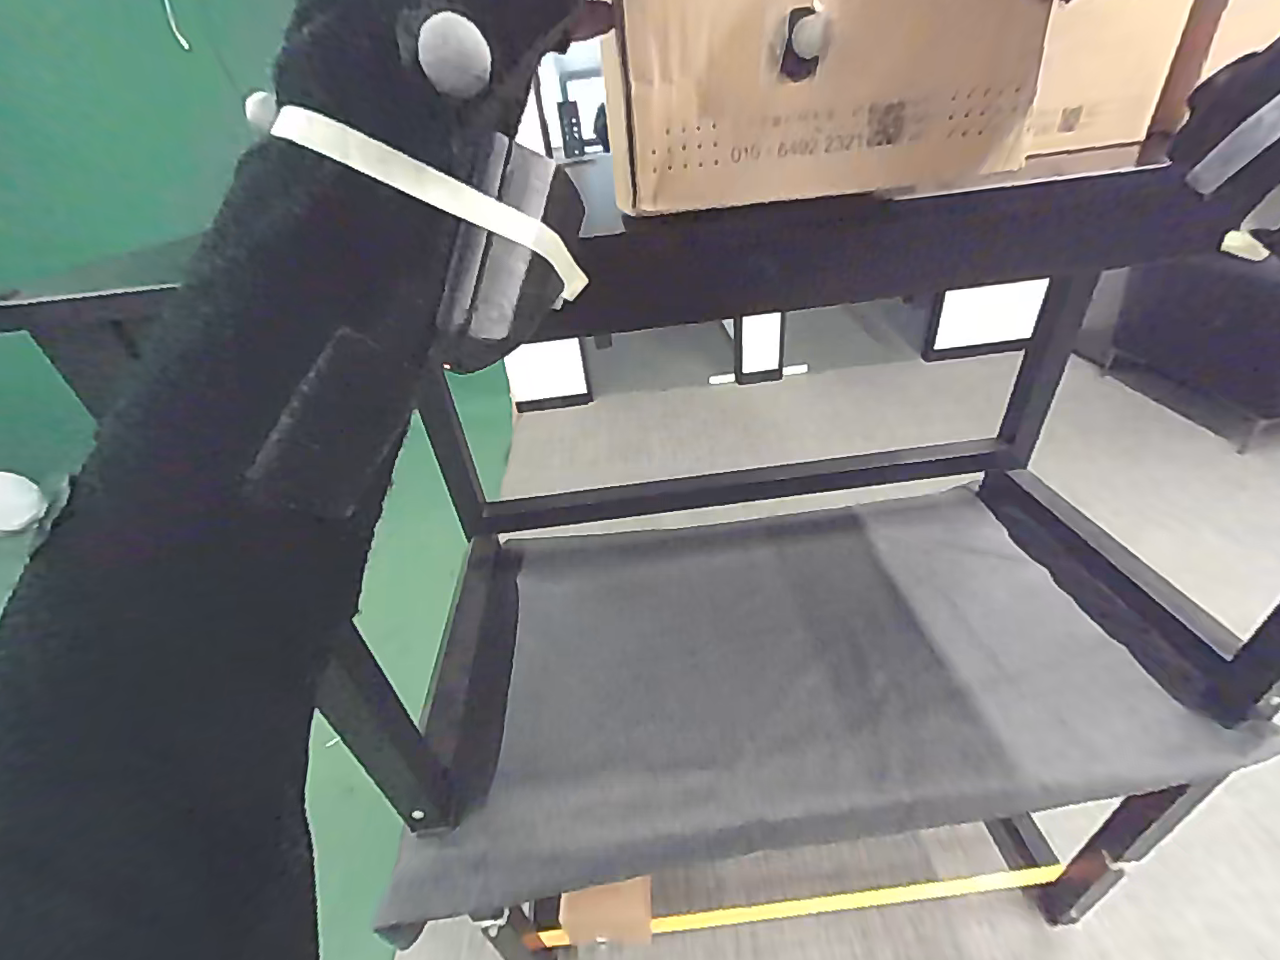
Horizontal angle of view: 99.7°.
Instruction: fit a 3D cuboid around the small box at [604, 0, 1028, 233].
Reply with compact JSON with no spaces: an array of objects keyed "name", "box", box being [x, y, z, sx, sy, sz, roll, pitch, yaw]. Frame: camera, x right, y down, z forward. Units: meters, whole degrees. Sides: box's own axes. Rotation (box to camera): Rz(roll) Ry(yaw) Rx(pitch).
[{"name":"small box","box":[0.066,-0.227,0.279,0.168,0.176,0.179,-7,28,-1]}]
